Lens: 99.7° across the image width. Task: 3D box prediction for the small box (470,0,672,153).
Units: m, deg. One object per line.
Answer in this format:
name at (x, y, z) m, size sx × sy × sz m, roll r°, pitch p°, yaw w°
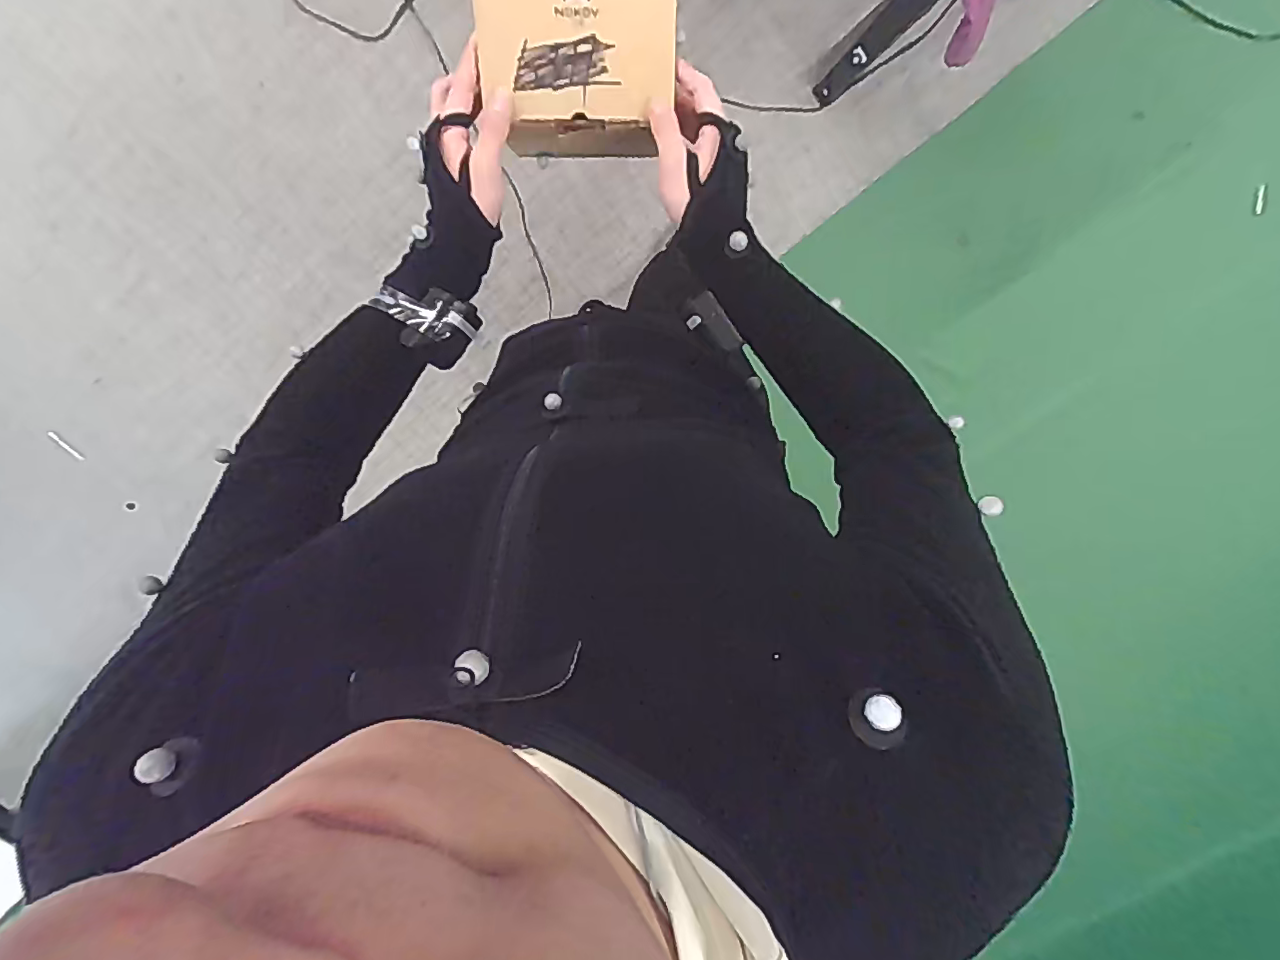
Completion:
small box at (-0.057, -0.419, 0.506) m, size 0.168 × 0.176 × 0.179 m, roll -1°, pitch 111°, yaw -2°
